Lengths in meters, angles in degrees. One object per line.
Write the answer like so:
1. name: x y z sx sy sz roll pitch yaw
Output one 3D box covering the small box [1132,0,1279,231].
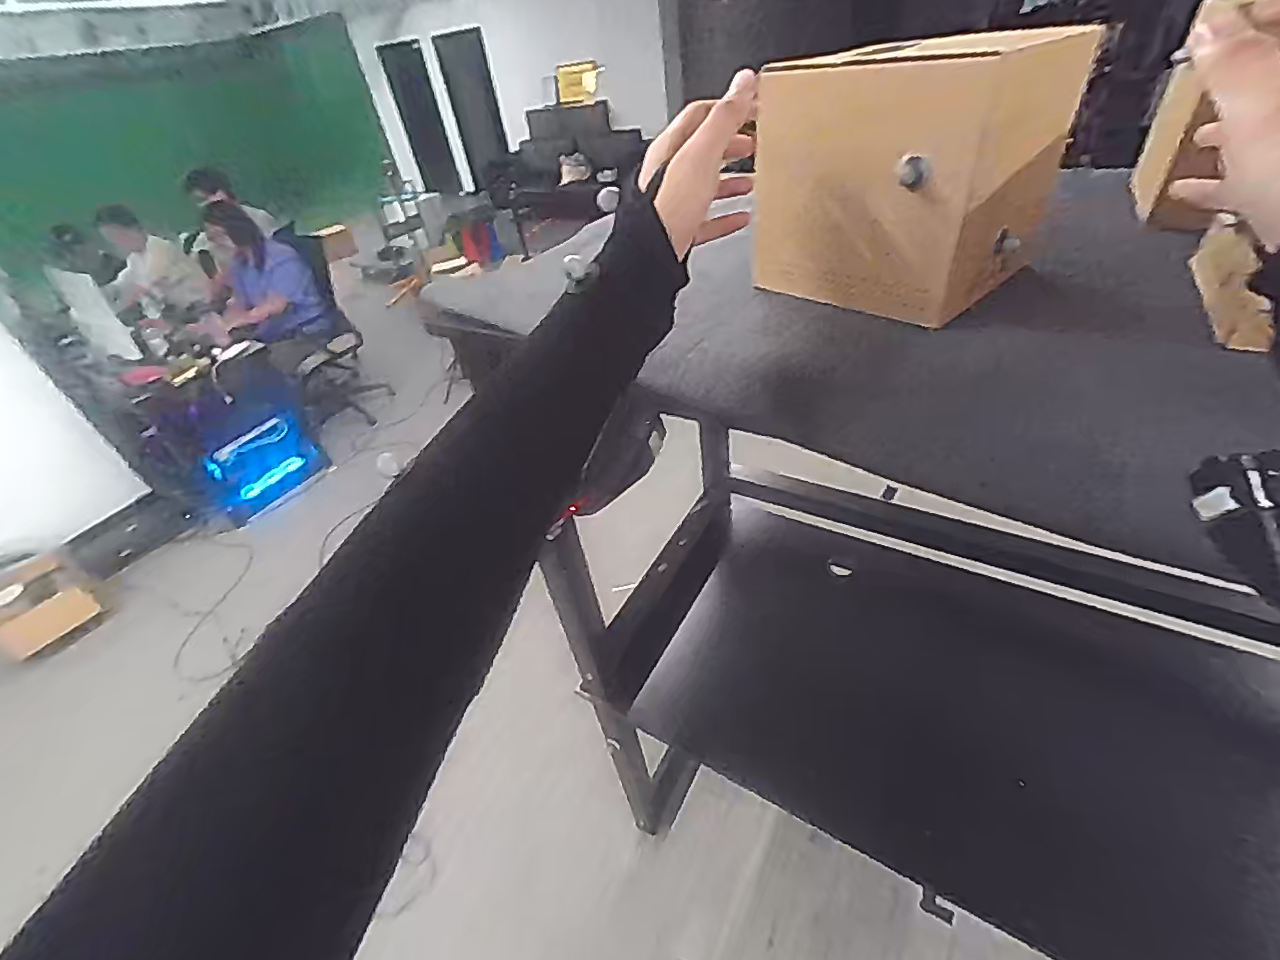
1. small box: 0.573 -0.329 0.478 0.168 0.176 0.179 16 45 29
